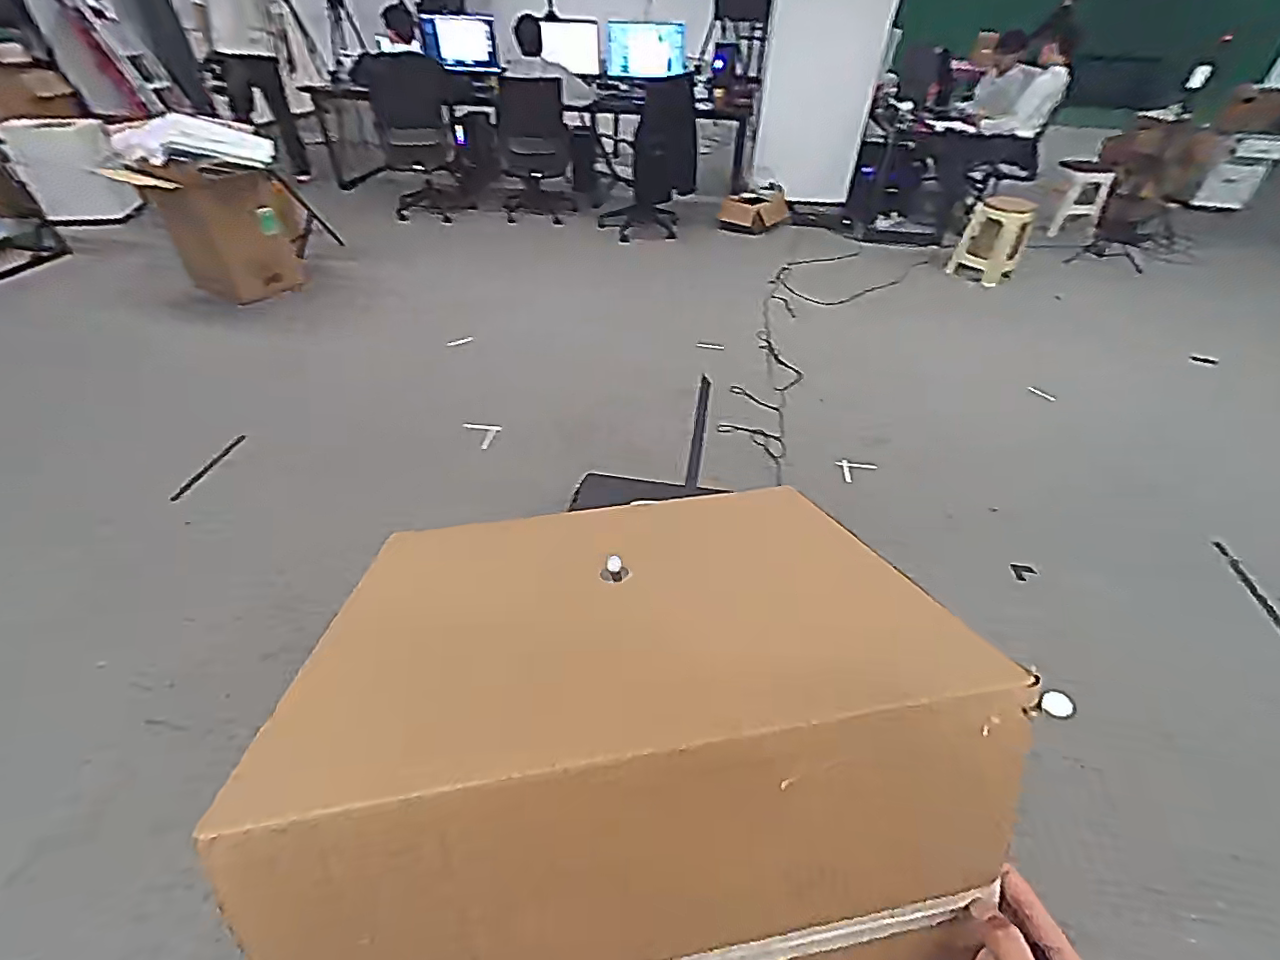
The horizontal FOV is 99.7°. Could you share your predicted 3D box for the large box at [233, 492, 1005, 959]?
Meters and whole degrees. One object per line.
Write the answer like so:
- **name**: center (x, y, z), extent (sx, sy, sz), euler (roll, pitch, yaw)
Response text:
- **large box**: center (-0.006, 0.224, 0.459), extent (0.408, 0.320, 0.320), euler (-7, 21, -7)
